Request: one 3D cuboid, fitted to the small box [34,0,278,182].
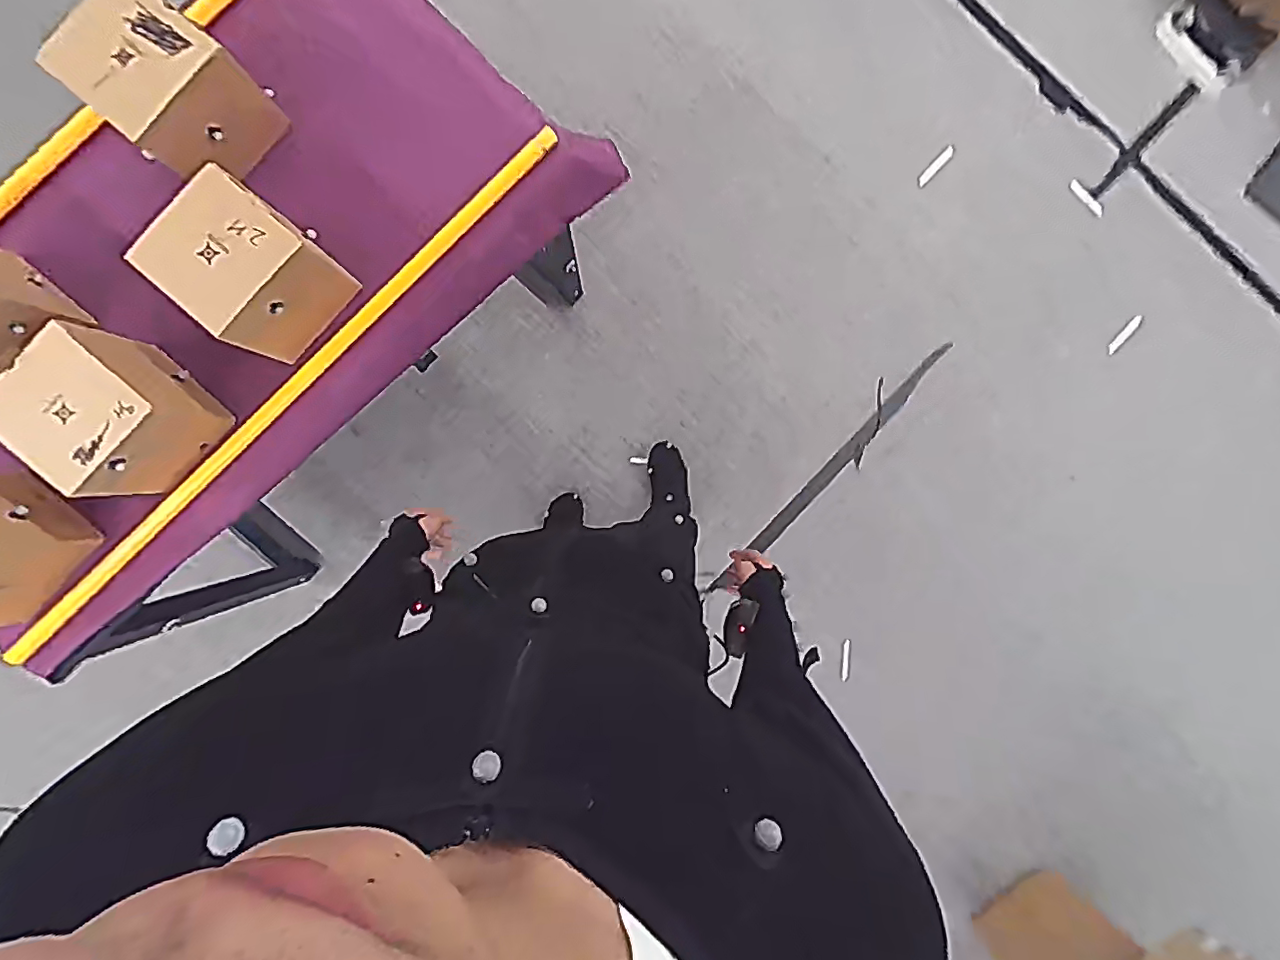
[{"bbox_3d":[-0.678,-0.562,0.788,0.168,0.176,0.179,40,90,-3],"label":"small box"}]

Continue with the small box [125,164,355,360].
[{"bbox_3d":[-0.568,-0.303,0.796,0.168,0.176,0.179,42,89,-1],"label":"small box"}]

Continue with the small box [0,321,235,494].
[{"bbox_3d":[-0.764,-0.094,0.791,0.179,0.176,0.168,43,90,-2],"label":"small box"}]

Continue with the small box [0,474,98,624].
[{"bbox_3d":[-0.964,0.101,0.785,0.168,0.176,0.179,41,88,-2],"label":"small box"}]
